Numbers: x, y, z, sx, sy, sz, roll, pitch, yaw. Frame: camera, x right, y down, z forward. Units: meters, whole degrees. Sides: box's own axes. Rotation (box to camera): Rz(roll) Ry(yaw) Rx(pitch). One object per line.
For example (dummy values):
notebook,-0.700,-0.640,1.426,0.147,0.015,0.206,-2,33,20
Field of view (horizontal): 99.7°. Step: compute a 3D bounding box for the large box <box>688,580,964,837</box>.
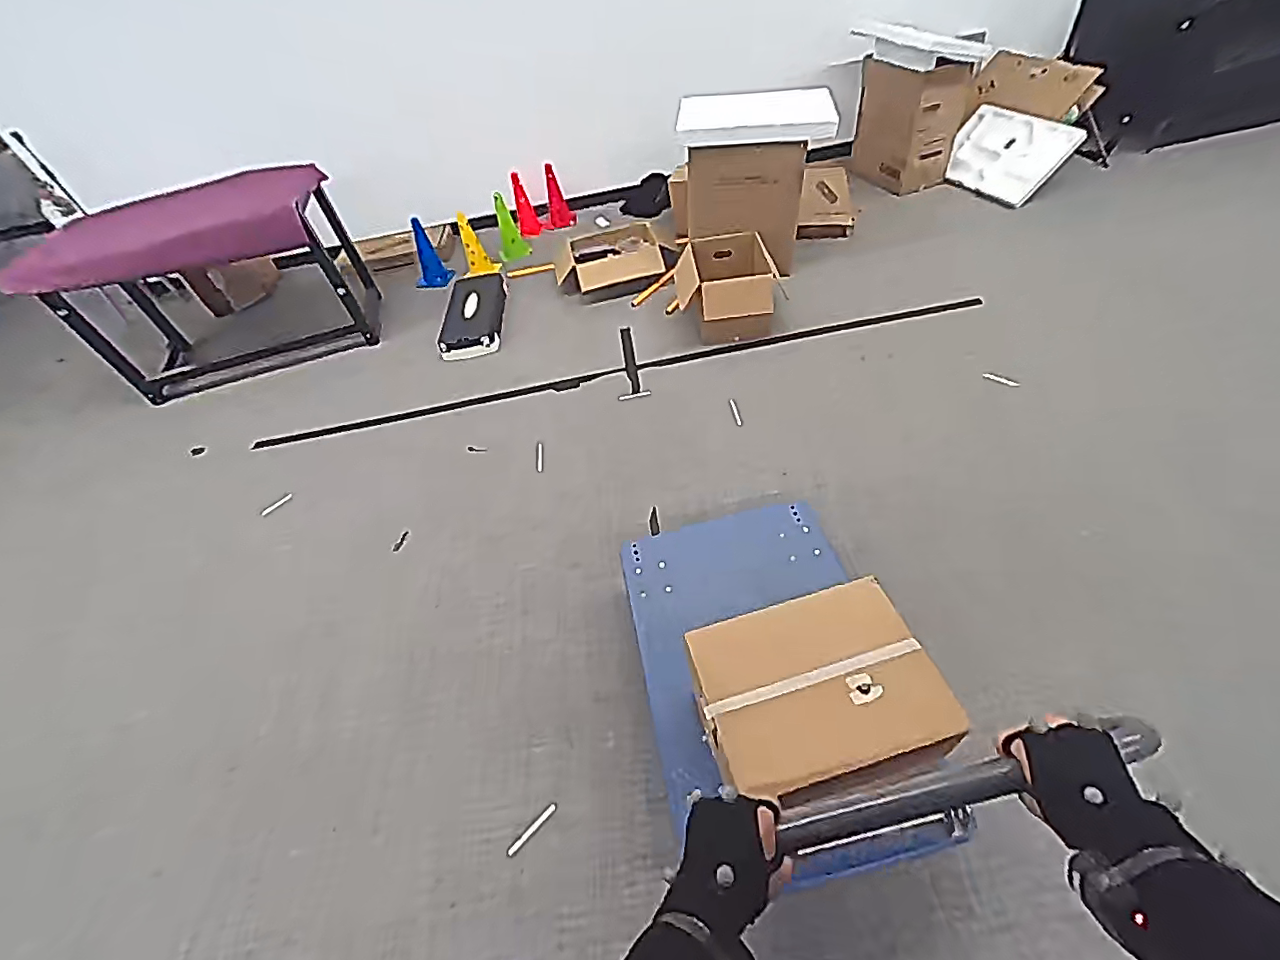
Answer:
large box,0.338,0.464,1.099,0.408,0.320,0.320,-16,48,-5
